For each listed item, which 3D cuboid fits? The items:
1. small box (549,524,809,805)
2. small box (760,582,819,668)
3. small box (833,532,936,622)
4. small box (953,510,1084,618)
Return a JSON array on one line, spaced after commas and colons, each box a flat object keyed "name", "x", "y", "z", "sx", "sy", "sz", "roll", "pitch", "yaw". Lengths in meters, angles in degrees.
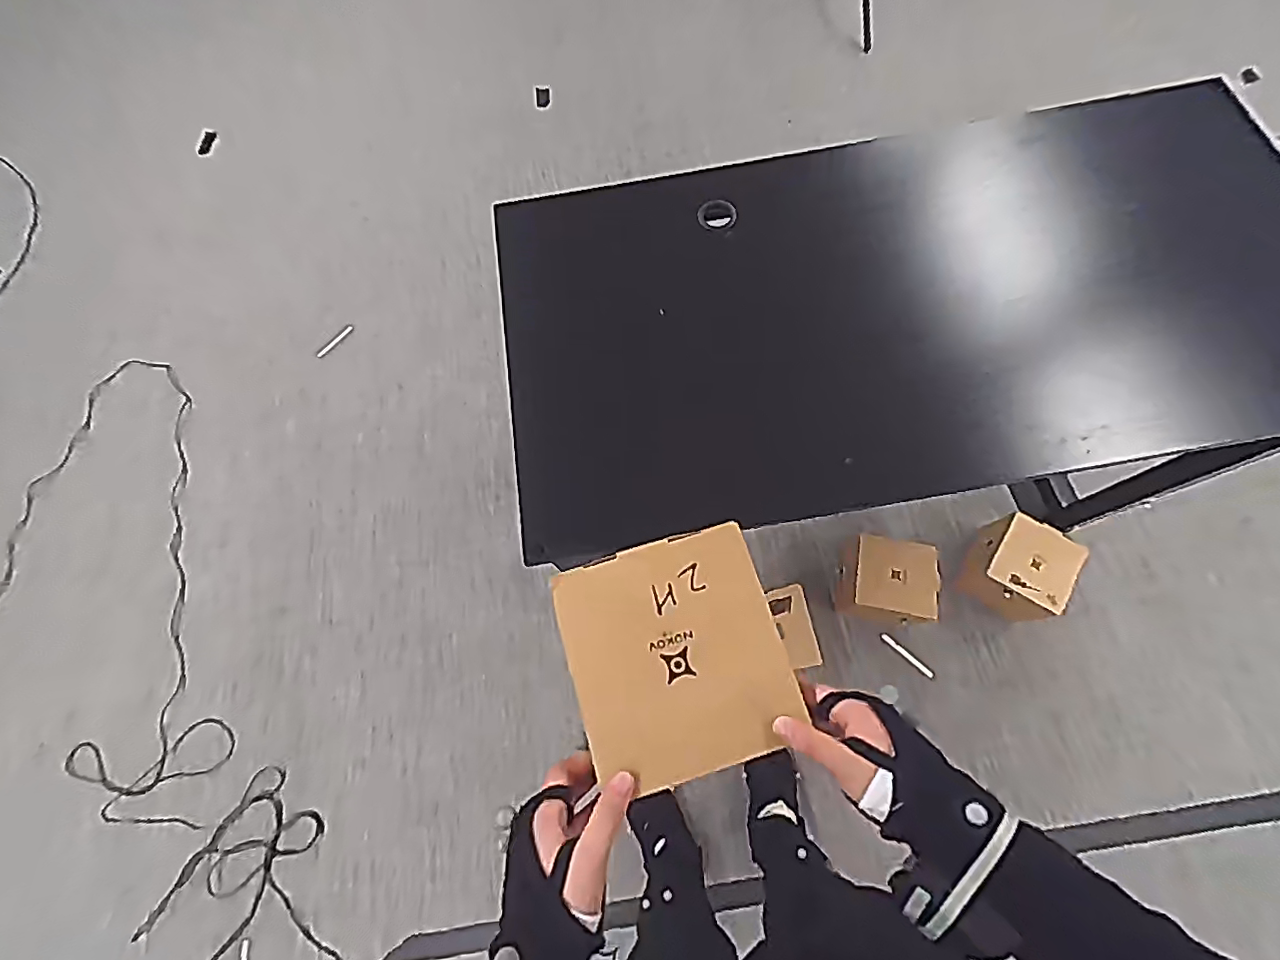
[{"name": "small box", "x": 0.028, "y": 0.160, "z": 0.497, "sx": 0.168, "sy": 0.176, "sz": 0.179, "roll": -17, "pitch": 72, "yaw": -5}, {"name": "small box", "x": 0.294, "y": 0.348, "z": 1.256, "sx": 0.168, "sy": 0.176, "sz": 0.179, "roll": -11, "pitch": 72, "yaw": 0}, {"name": "small box", "x": 0.572, "y": 0.235, "z": 1.279, "sx": 0.179, "sy": 0.176, "sz": 0.168, "roll": 9, "pitch": 71, "yaw": 8}, {"name": "small box", "x": 0.874, "y": 0.202, "z": 1.267, "sx": 0.168, "sy": 0.176, "sz": 0.179, "roll": 31, "pitch": 76, "yaw": 14}]
